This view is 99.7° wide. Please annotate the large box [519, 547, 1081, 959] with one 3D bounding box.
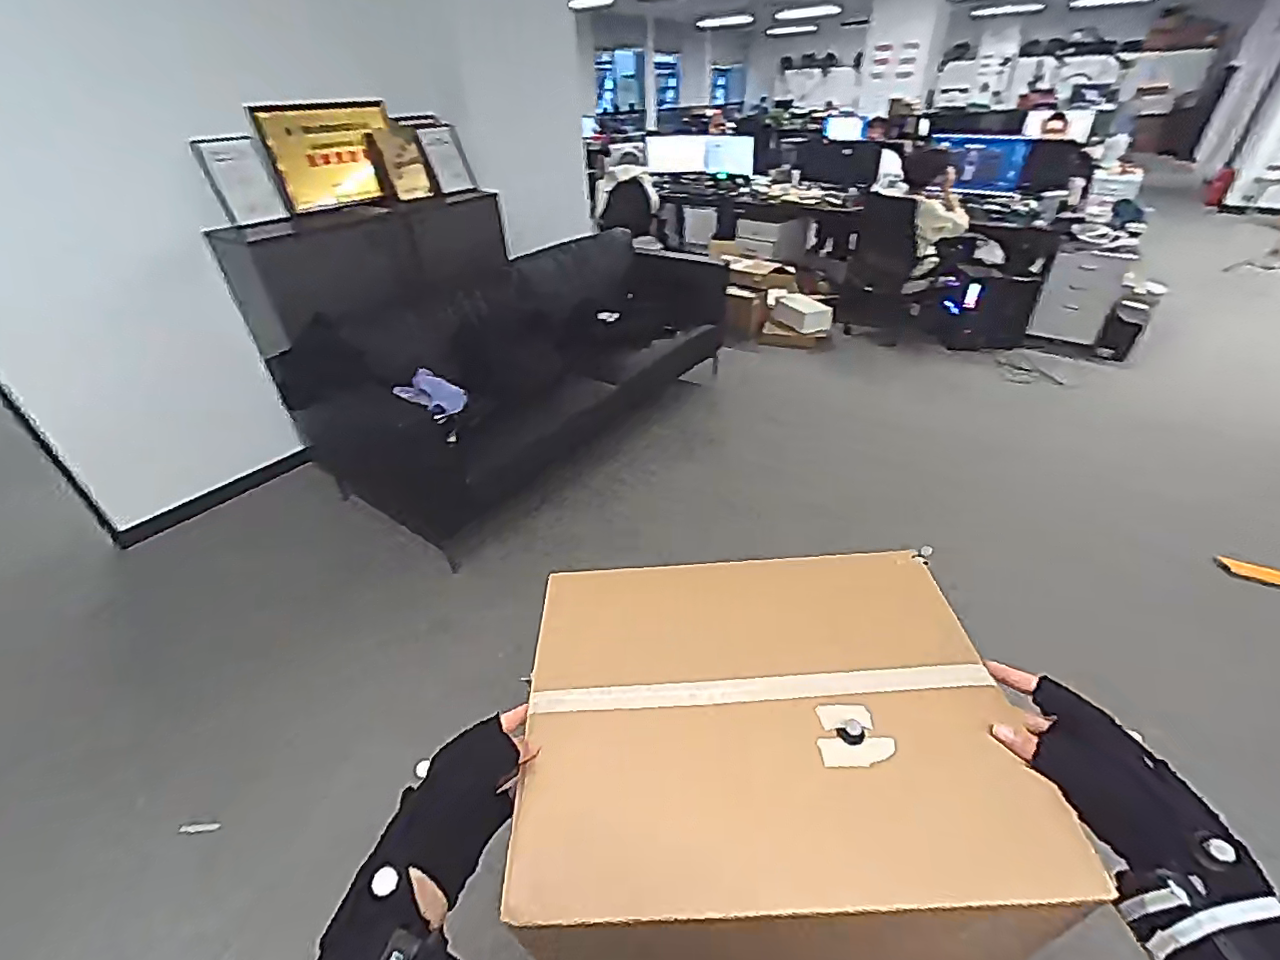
[{"bbox_3d":[0.115,0.303,0.583,0.408,0.320,0.320,-5,39,2],"label":"large box"}]
